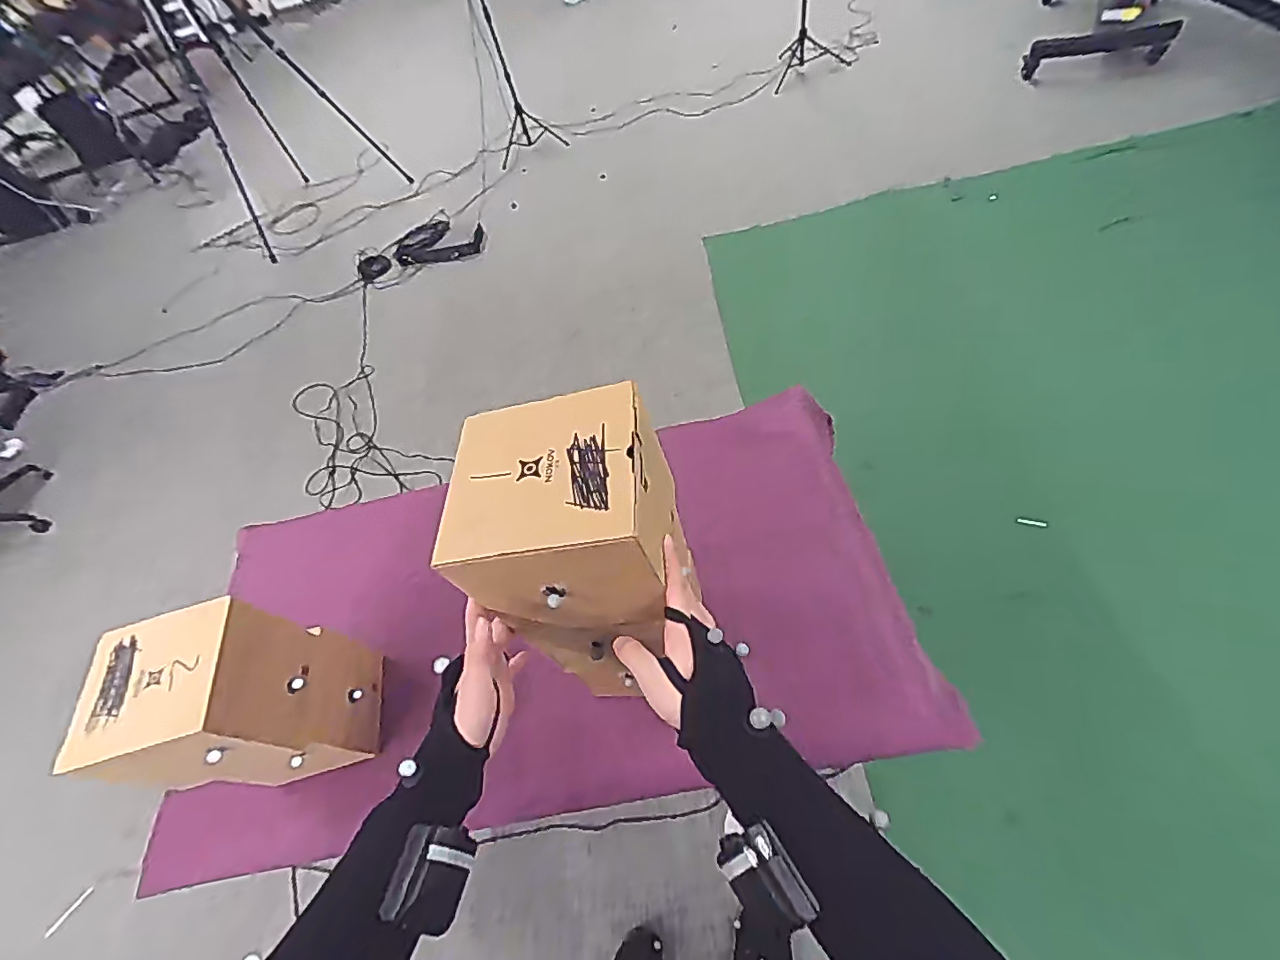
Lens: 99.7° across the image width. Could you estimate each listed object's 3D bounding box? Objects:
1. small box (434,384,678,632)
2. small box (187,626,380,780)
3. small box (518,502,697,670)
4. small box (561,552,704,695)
[{"bbox_3d":[-0.062,0.037,0.523,0.179,0.176,0.168,-9,54,13],"label":"small box"},{"bbox_3d":[-0.530,0.348,0.835,0.179,0.176,0.168,-16,55,2],"label":"small box"},{"bbox_3d":[-0.030,0.130,0.670,0.179,0.176,0.168,-7,57,9],"label":"small box"},{"bbox_3d":[0.000,0.218,0.805,0.179,0.176,0.168,-4,57,10],"label":"small box"}]
